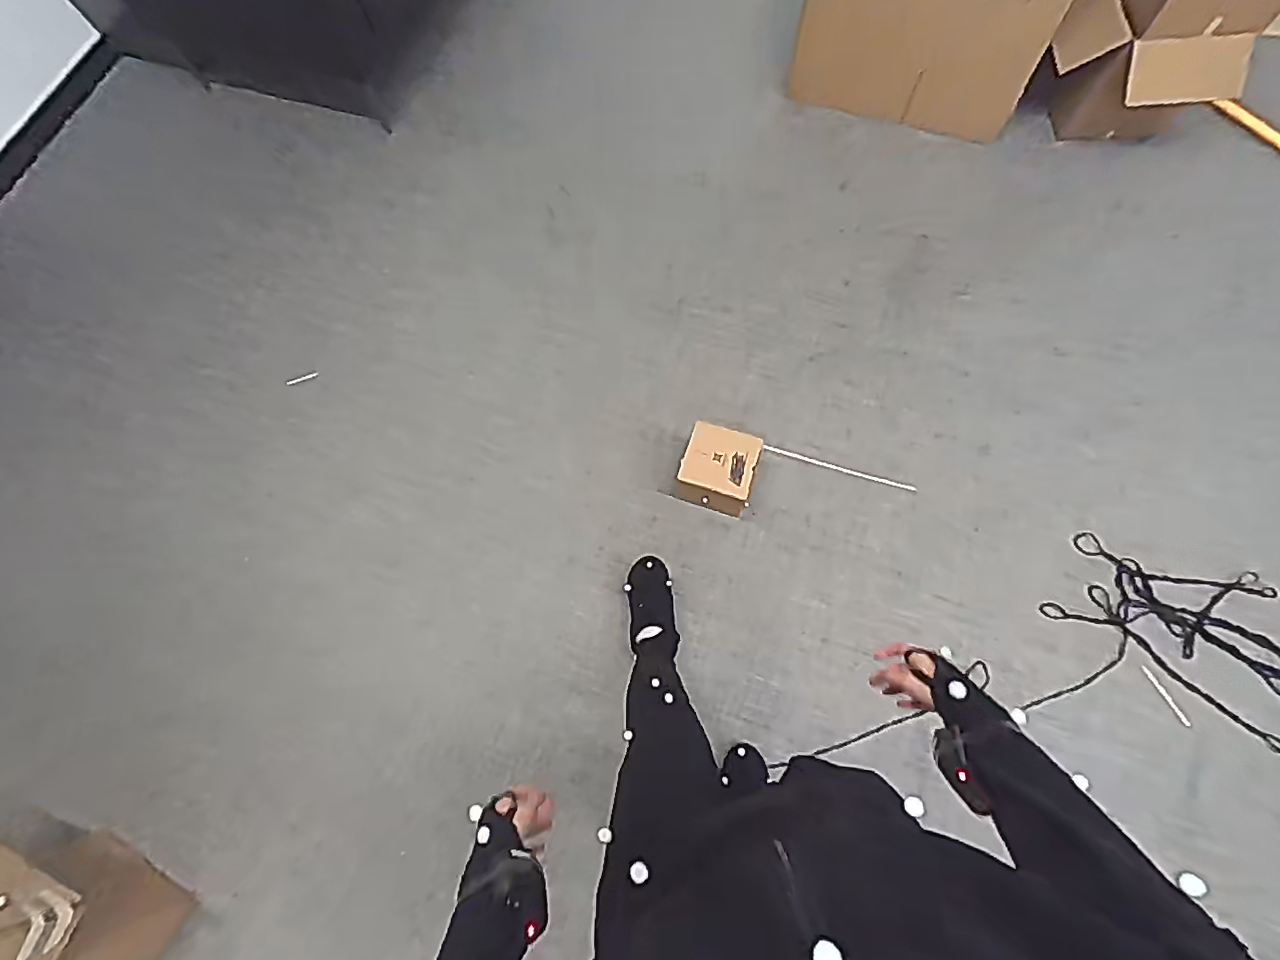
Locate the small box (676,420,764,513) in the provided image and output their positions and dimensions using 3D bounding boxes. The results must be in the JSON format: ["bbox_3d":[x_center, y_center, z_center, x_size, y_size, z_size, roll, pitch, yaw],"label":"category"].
[{"bbox_3d":[0.201,-0.027,1.384,0.179,0.176,0.168,17,73,10],"label":"small box"}]
